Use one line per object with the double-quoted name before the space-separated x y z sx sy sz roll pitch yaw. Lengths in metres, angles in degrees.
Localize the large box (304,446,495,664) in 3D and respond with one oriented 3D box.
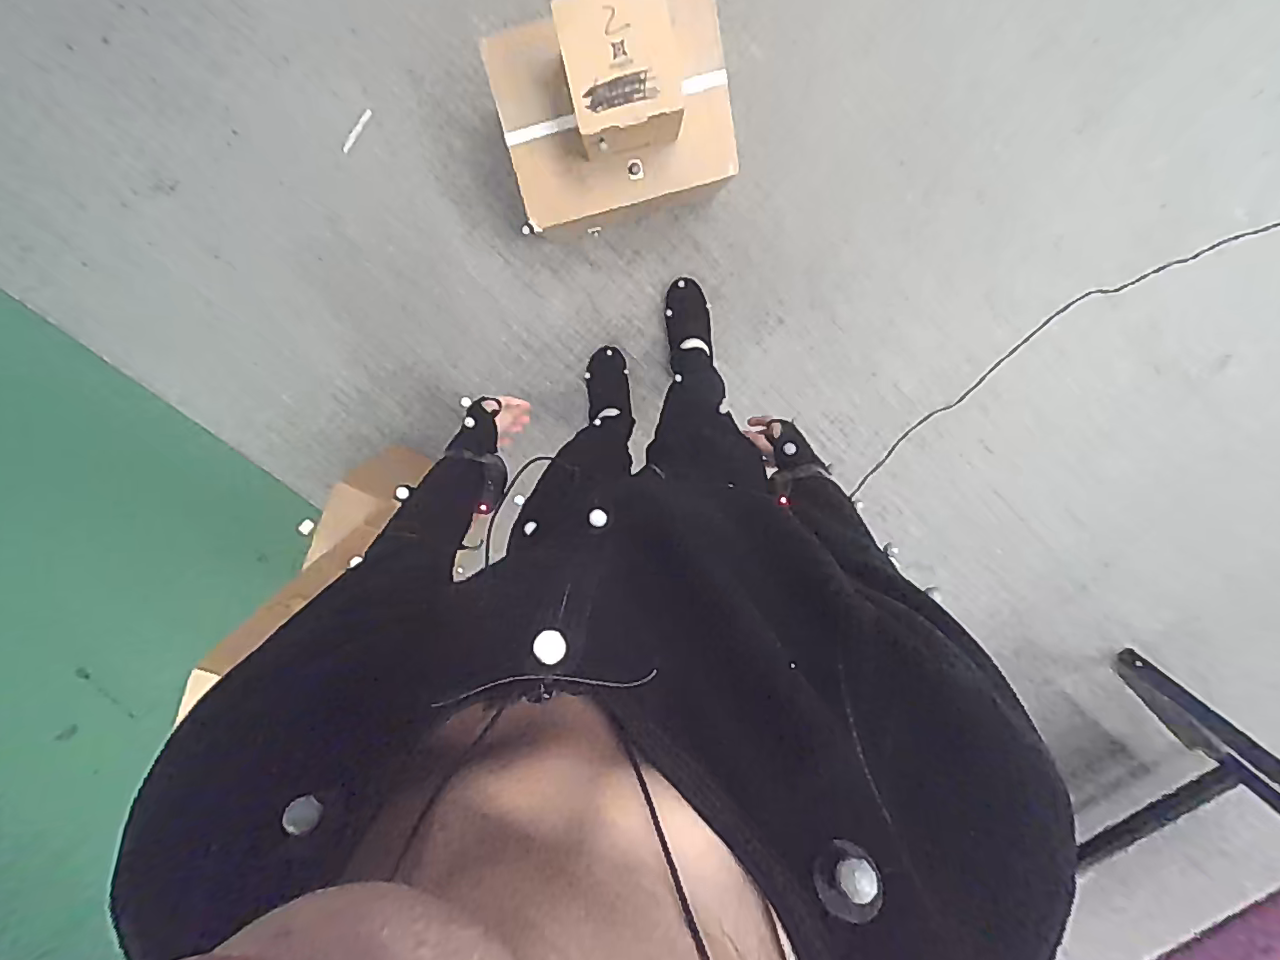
"large box" -0.622 0.182 1.413 0.320 0.320 0.408 27 108 -8
